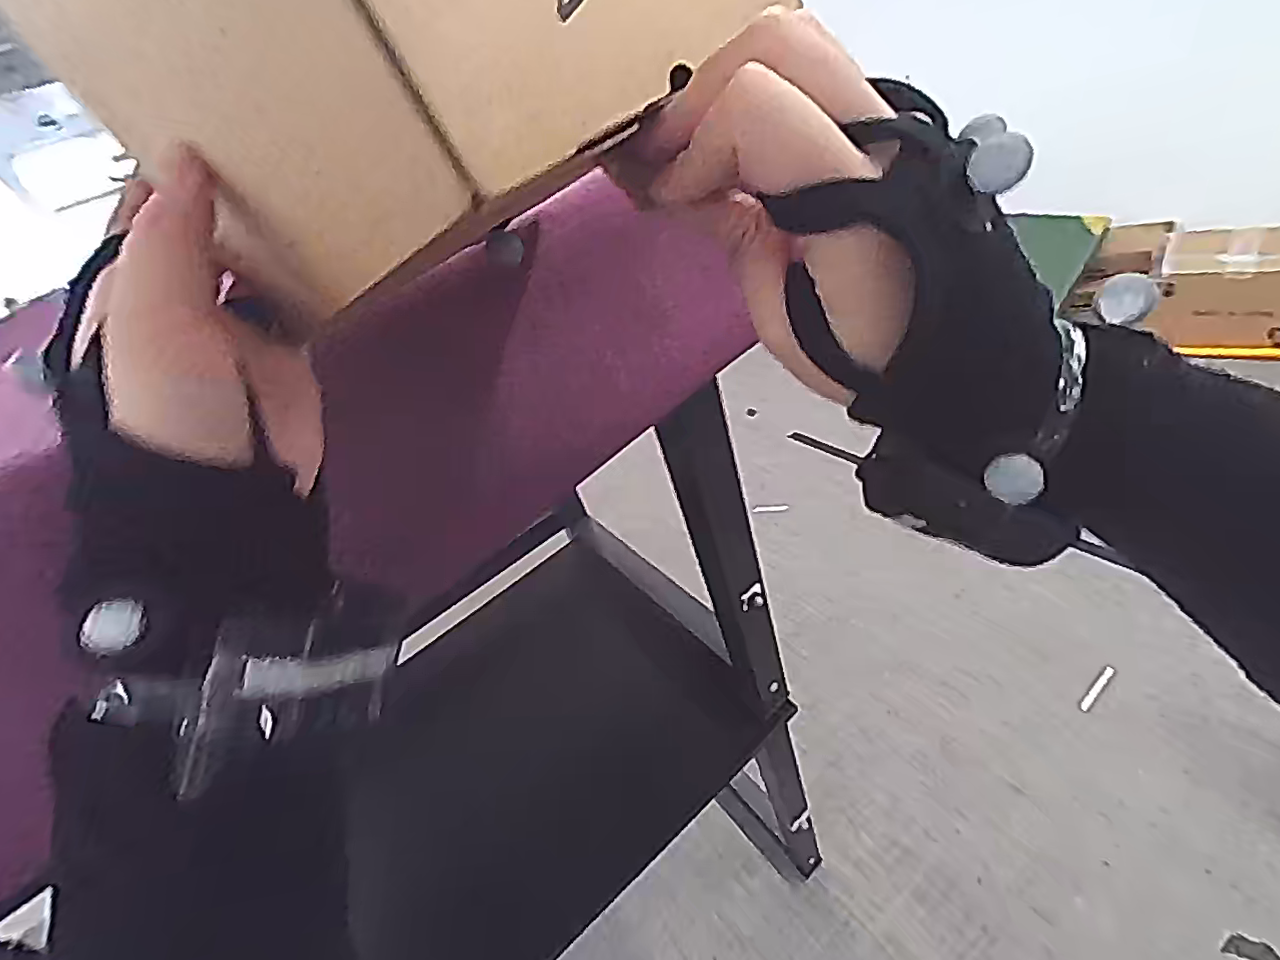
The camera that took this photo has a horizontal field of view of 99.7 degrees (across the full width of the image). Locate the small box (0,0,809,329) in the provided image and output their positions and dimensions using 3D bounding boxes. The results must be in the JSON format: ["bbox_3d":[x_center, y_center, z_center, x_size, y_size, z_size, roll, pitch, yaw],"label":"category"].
[{"bbox_3d":[-0.081,-0.172,0.165,0.176,0.179,0.168,0,40,46],"label":"small box"}]
